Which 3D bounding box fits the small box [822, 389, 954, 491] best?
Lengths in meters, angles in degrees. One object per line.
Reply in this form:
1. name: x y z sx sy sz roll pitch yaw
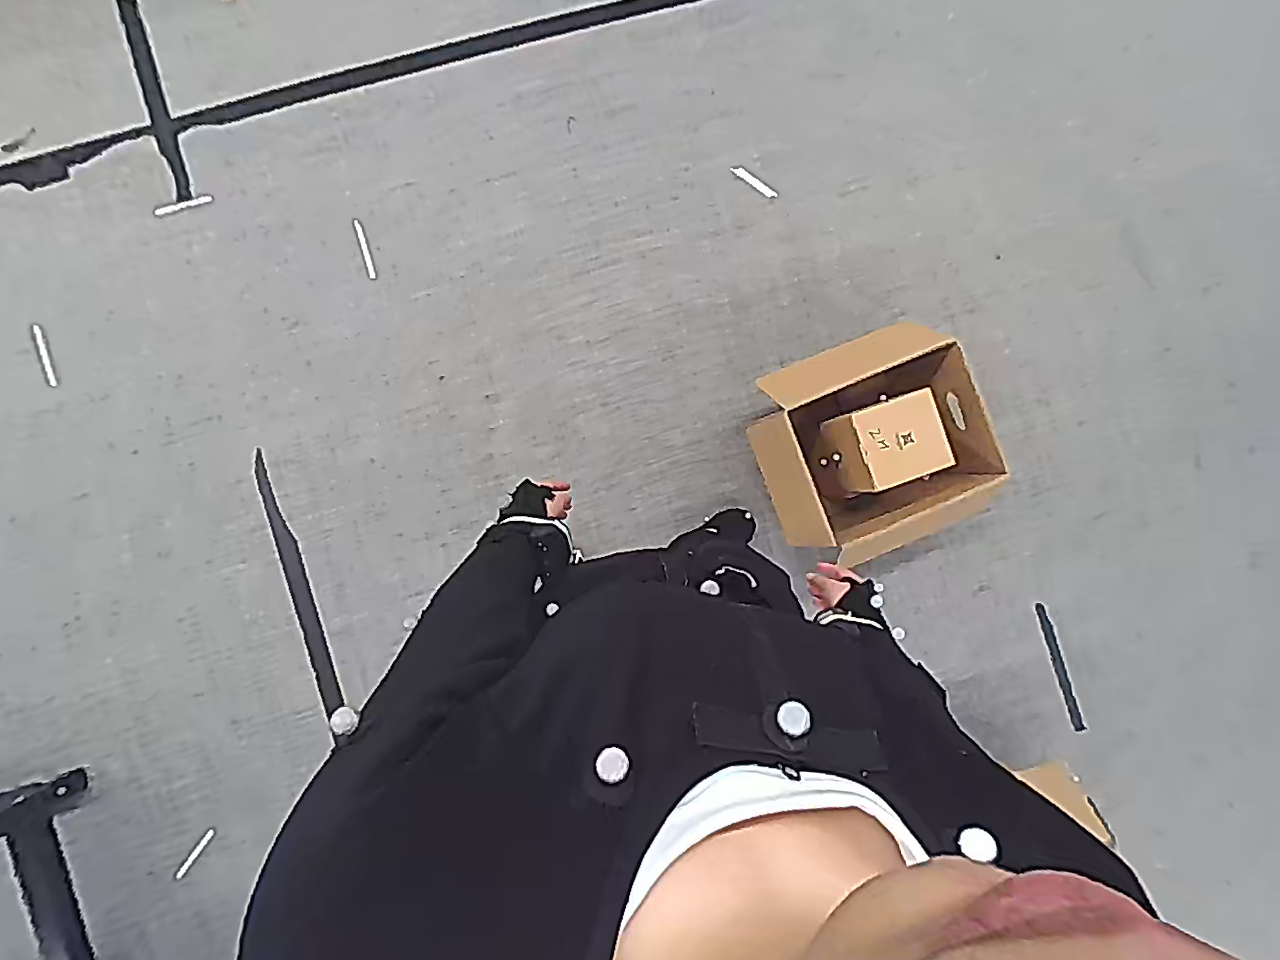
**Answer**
1. small box: 0.523 -0.082 1.163 0.179 0.176 0.168 -19 90 -3
